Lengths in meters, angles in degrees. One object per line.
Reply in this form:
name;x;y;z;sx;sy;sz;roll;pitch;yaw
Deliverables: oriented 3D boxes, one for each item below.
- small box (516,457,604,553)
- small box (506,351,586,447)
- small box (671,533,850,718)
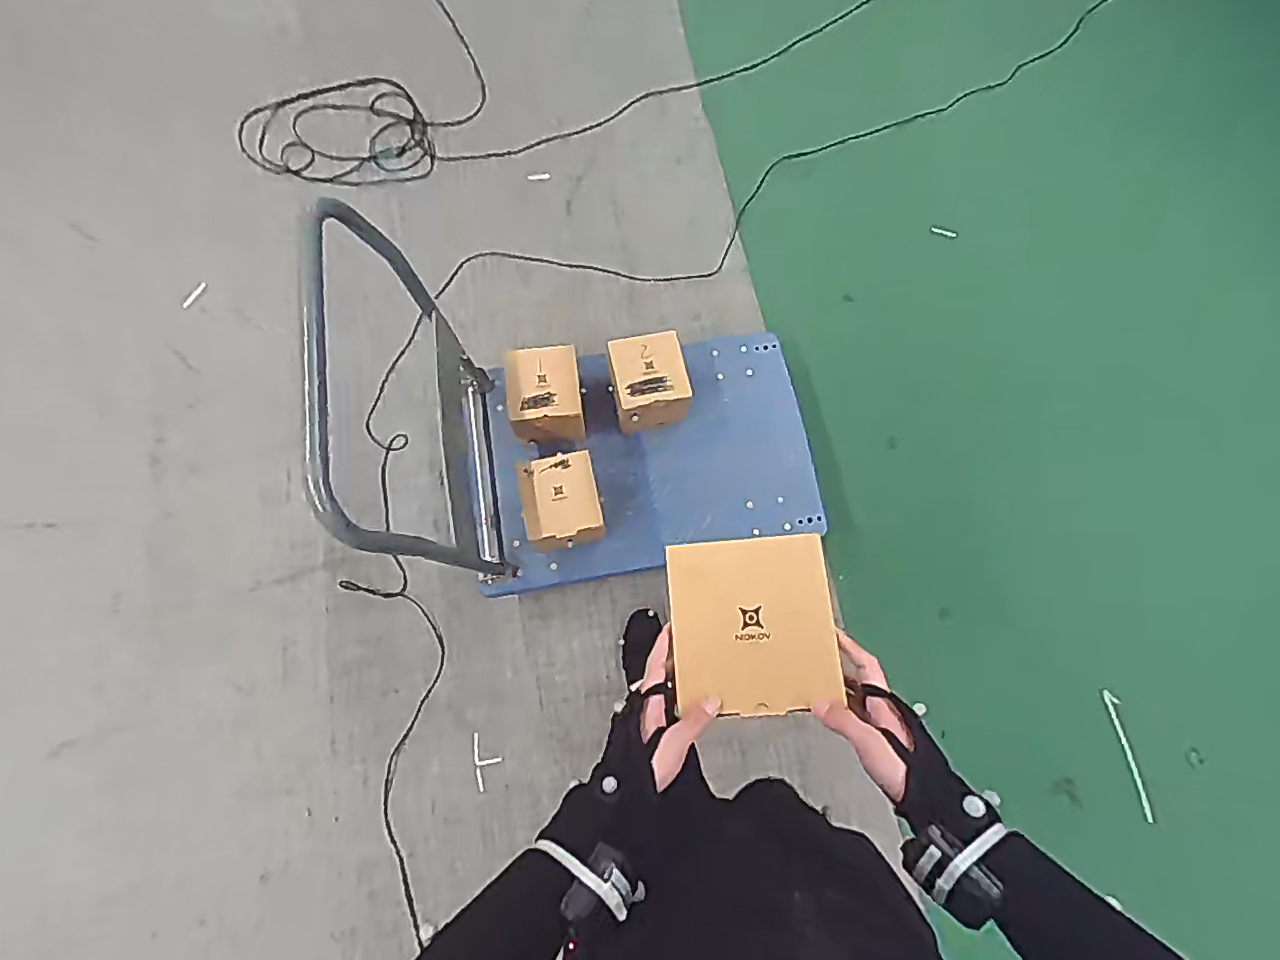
small box;-0.175;0.065;1.229;0.168;0.176;0.179;-11;76;-7
small box;-0.220;-0.186;1.295;0.168;0.176;0.179;-6;75;-5
small box;0.125;0.168;0.624;0.168;0.176;0.179;-6;73;5
